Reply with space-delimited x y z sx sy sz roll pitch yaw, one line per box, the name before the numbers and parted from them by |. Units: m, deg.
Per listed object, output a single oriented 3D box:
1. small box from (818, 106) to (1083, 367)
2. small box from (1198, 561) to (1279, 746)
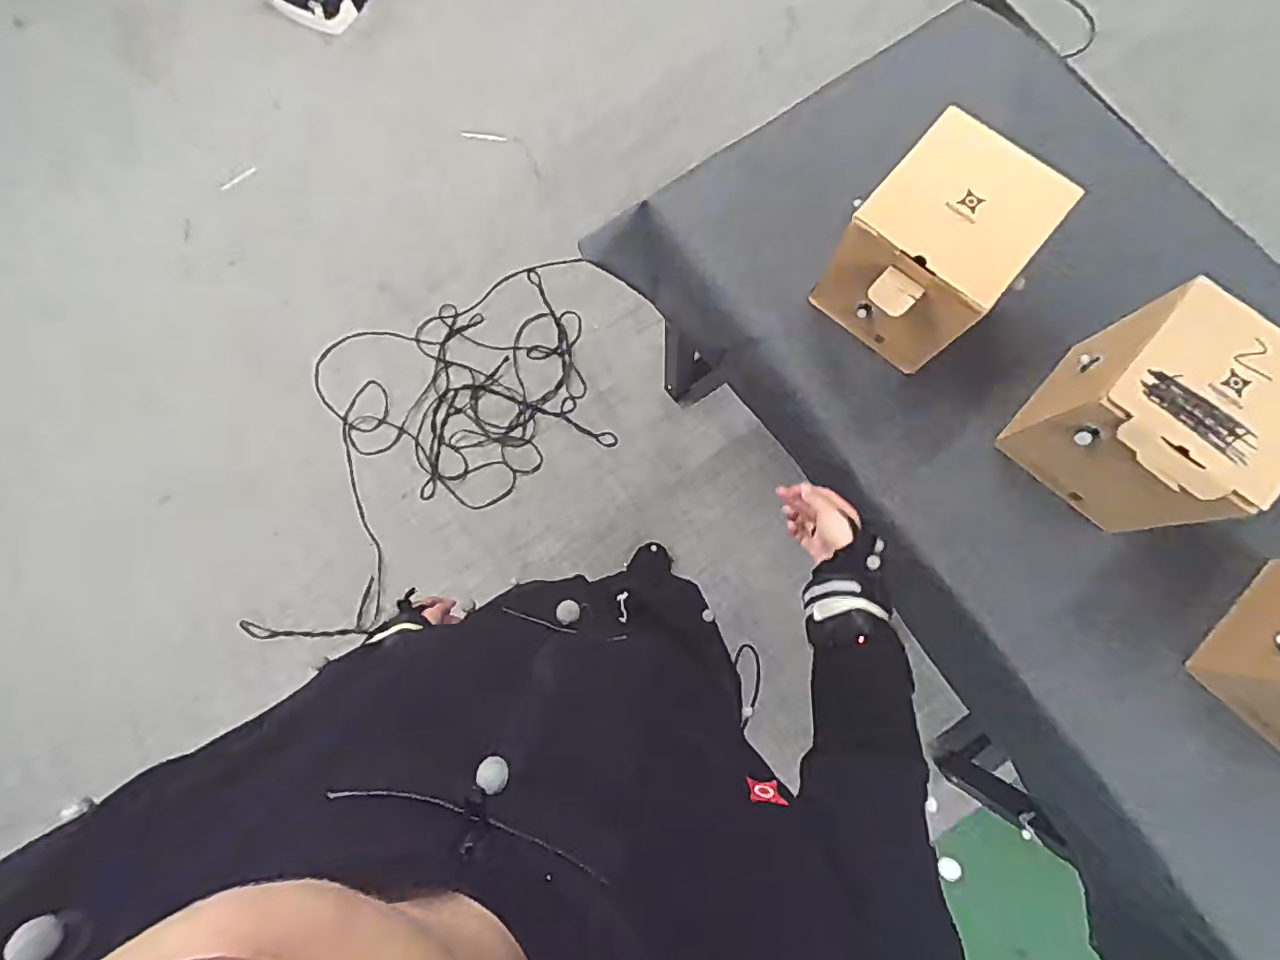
small box | 0.337 -0.266 0.628 0.168 0.176 0.179 40 84 7
small box | 0.729 0.191 0.532 0.168 0.176 0.179 44 83 8
